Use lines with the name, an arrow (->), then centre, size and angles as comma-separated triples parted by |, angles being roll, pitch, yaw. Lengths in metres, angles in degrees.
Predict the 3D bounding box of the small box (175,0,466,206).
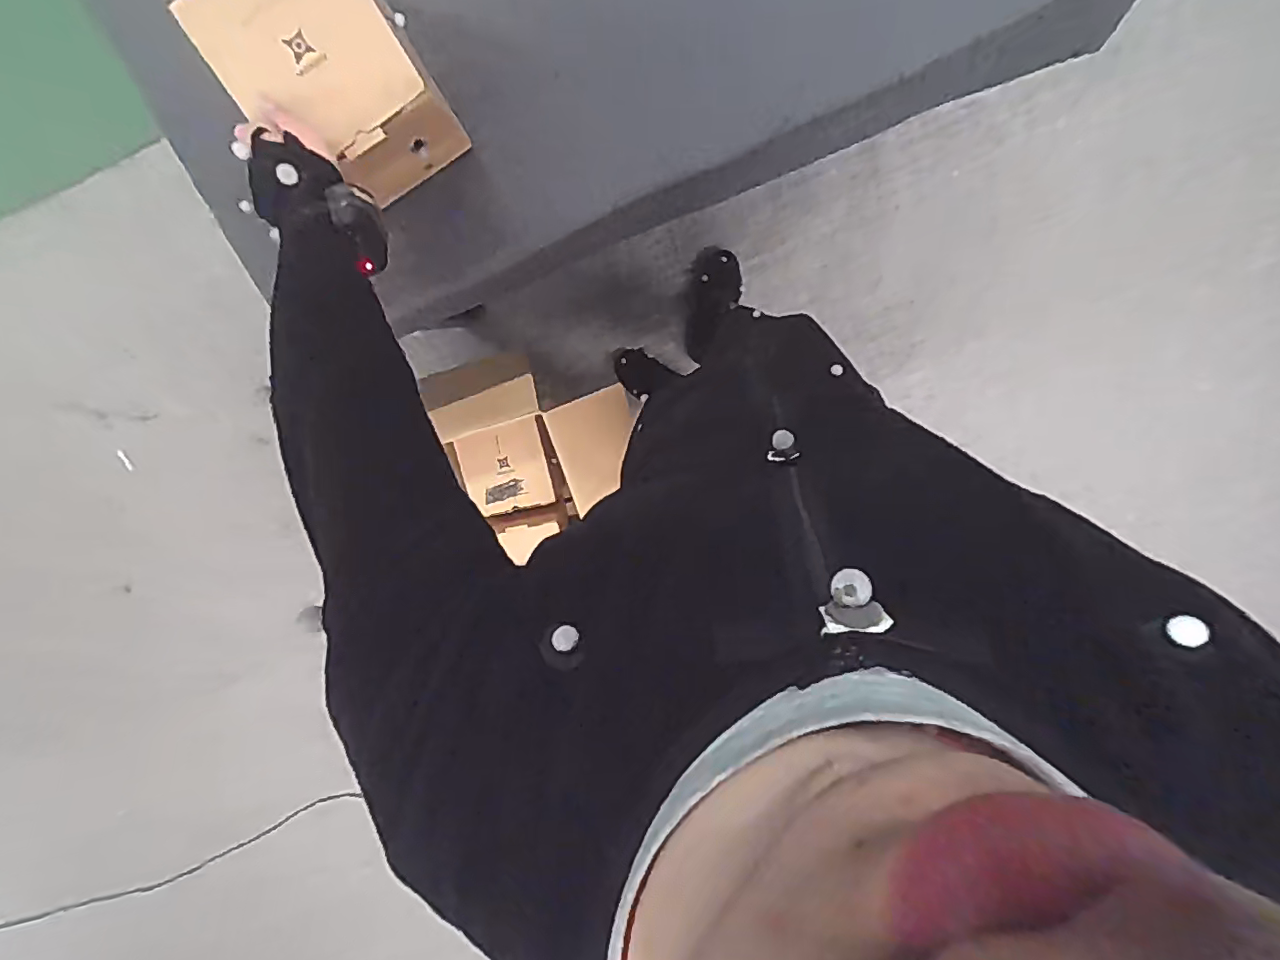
small box -> -0.319, -0.425, 0.586 | 0.168, 0.176, 0.179 | -32, 103, 6
